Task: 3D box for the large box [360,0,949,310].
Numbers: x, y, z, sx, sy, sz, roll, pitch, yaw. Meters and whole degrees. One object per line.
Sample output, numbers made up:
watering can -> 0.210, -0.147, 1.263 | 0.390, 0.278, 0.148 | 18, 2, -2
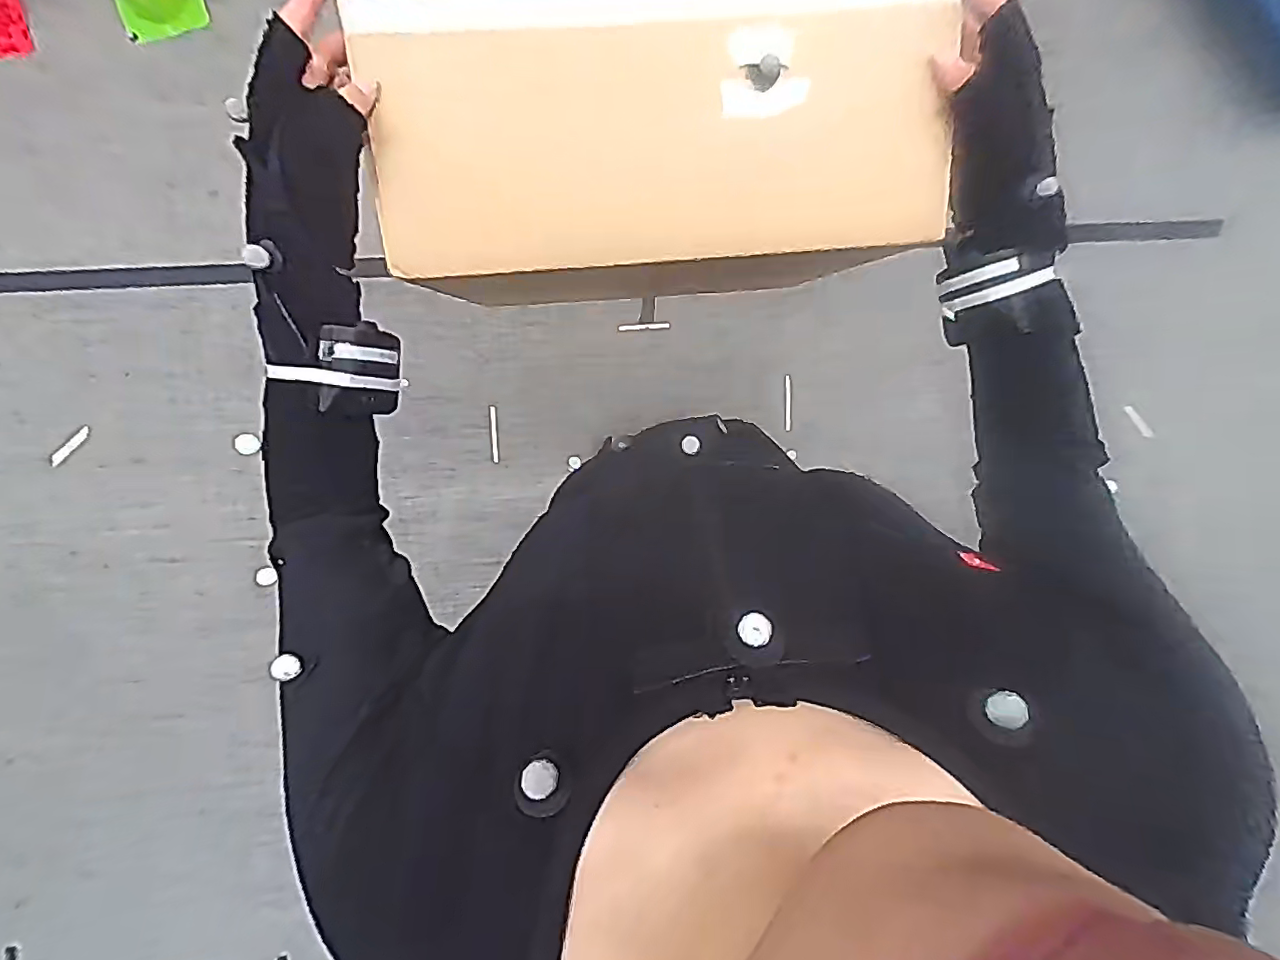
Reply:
large box -> 0.002, -0.348, 0.505 | 0.408, 0.320, 0.320 | -6, 104, -4
